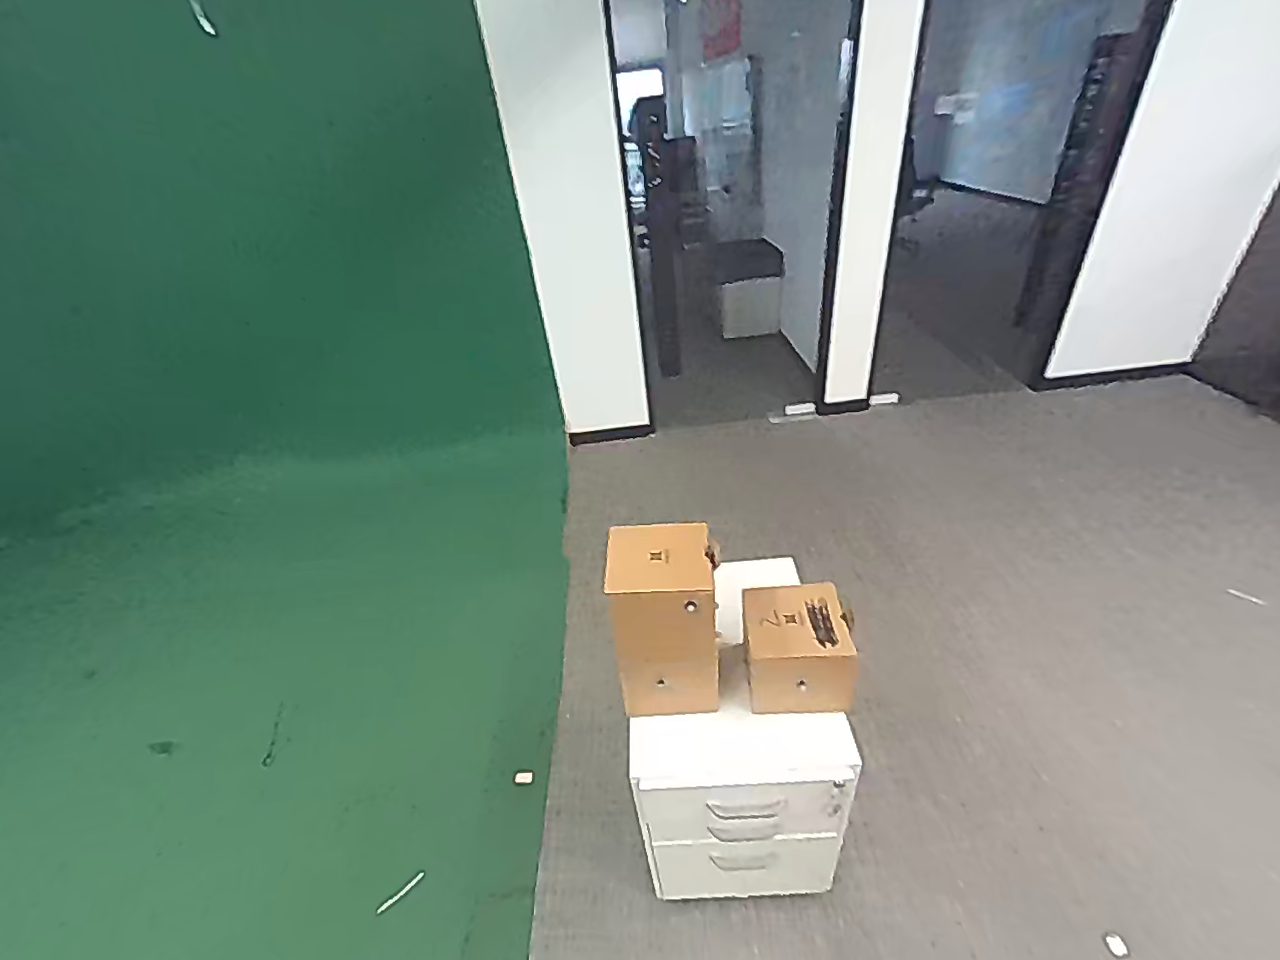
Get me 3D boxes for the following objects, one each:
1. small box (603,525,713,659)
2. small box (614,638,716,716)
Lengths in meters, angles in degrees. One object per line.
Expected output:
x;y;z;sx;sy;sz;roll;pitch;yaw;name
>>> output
0.035;0.197;0.949;0.179;0.176;0.168;-2;34;2;small box
0.049;0.333;1.039;0.179;0.176;0.168;-5;34;2;small box
